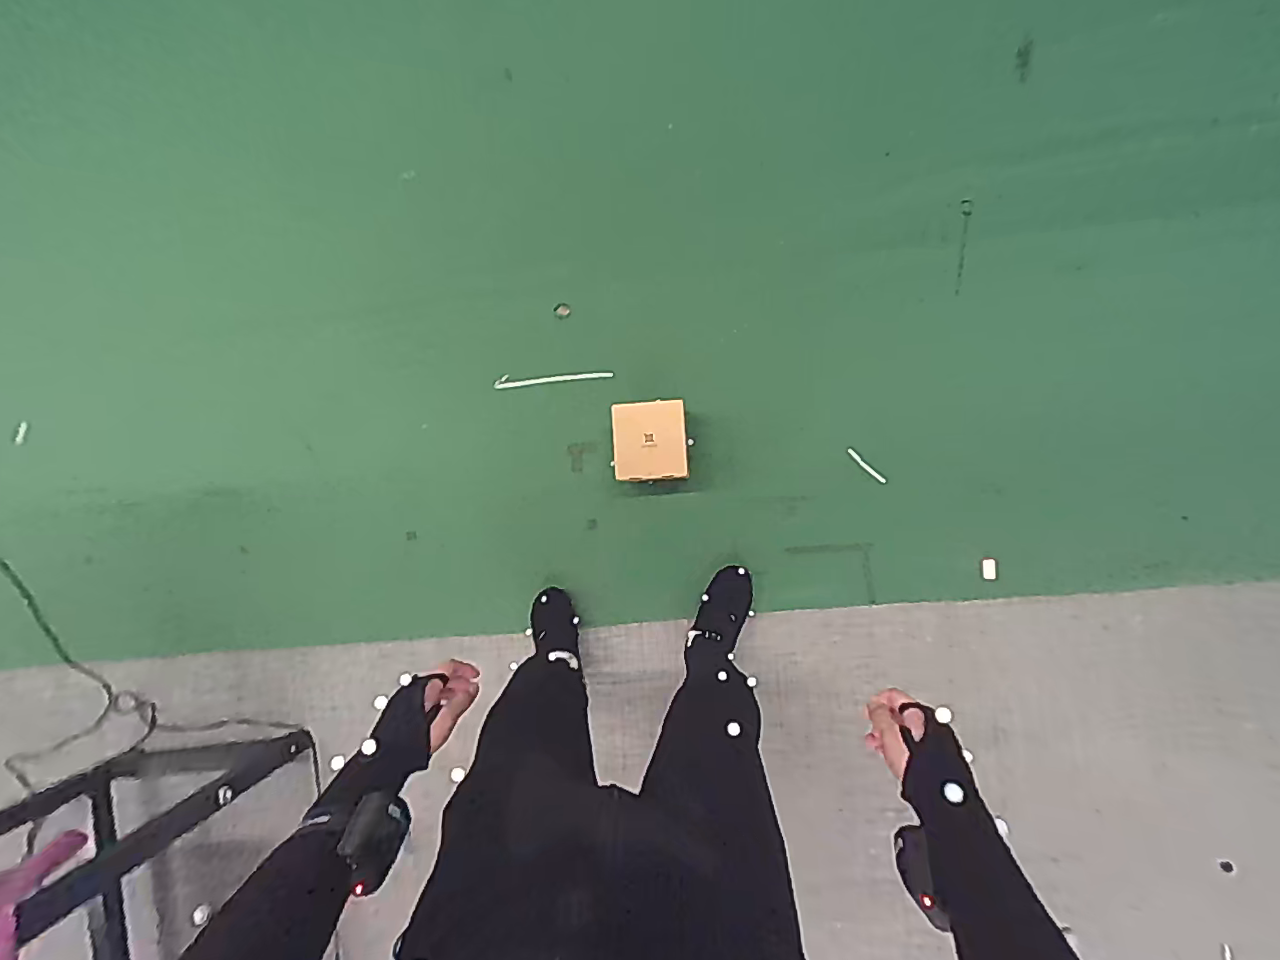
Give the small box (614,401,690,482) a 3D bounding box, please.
[{"bbox_3d":[0.032,-0.087,1.301,0.168,0.176,0.179,-4,90,6],"label":"small box"}]
